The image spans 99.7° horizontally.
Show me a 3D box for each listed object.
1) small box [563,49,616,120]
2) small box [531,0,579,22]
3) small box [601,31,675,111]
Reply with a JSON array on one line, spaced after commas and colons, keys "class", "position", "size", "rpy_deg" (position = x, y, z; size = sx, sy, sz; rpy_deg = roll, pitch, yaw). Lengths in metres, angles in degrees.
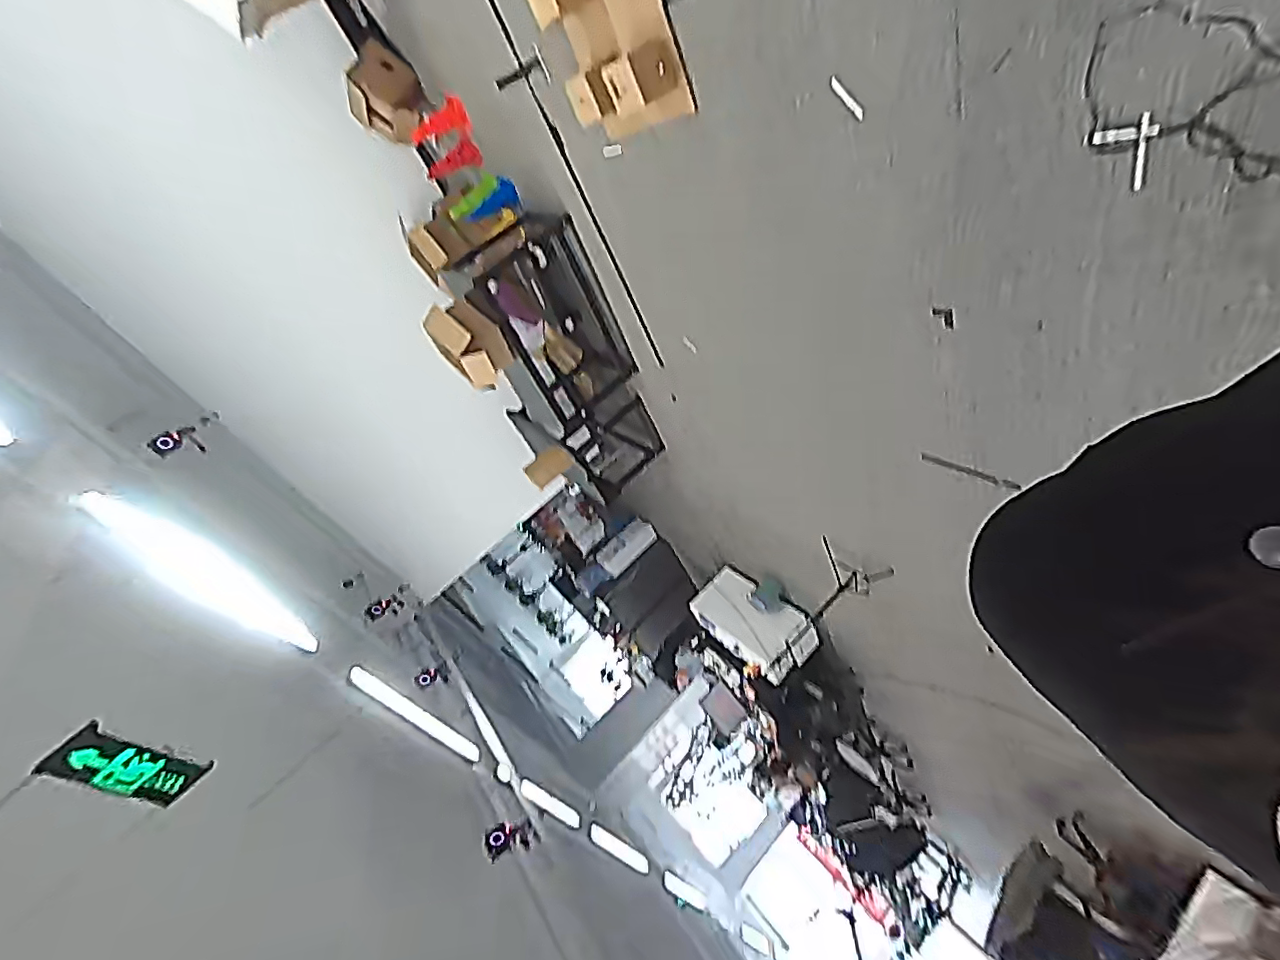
[{"class": "small box", "position": [-0.175, -1.596, 2.184], "size": [0.179, 0.176, 0.168], "rpy_deg": [28, 156, 50]}, {"class": "small box", "position": [-0.308, -1.838, 1.980], "size": [0.179, 0.176, 0.168], "rpy_deg": [26, 154, 53]}, {"class": "small box", "position": [-0.004, -1.494, 1.979], "size": [0.179, 0.176, 0.168], "rpy_deg": [27, 155, 50]}]
